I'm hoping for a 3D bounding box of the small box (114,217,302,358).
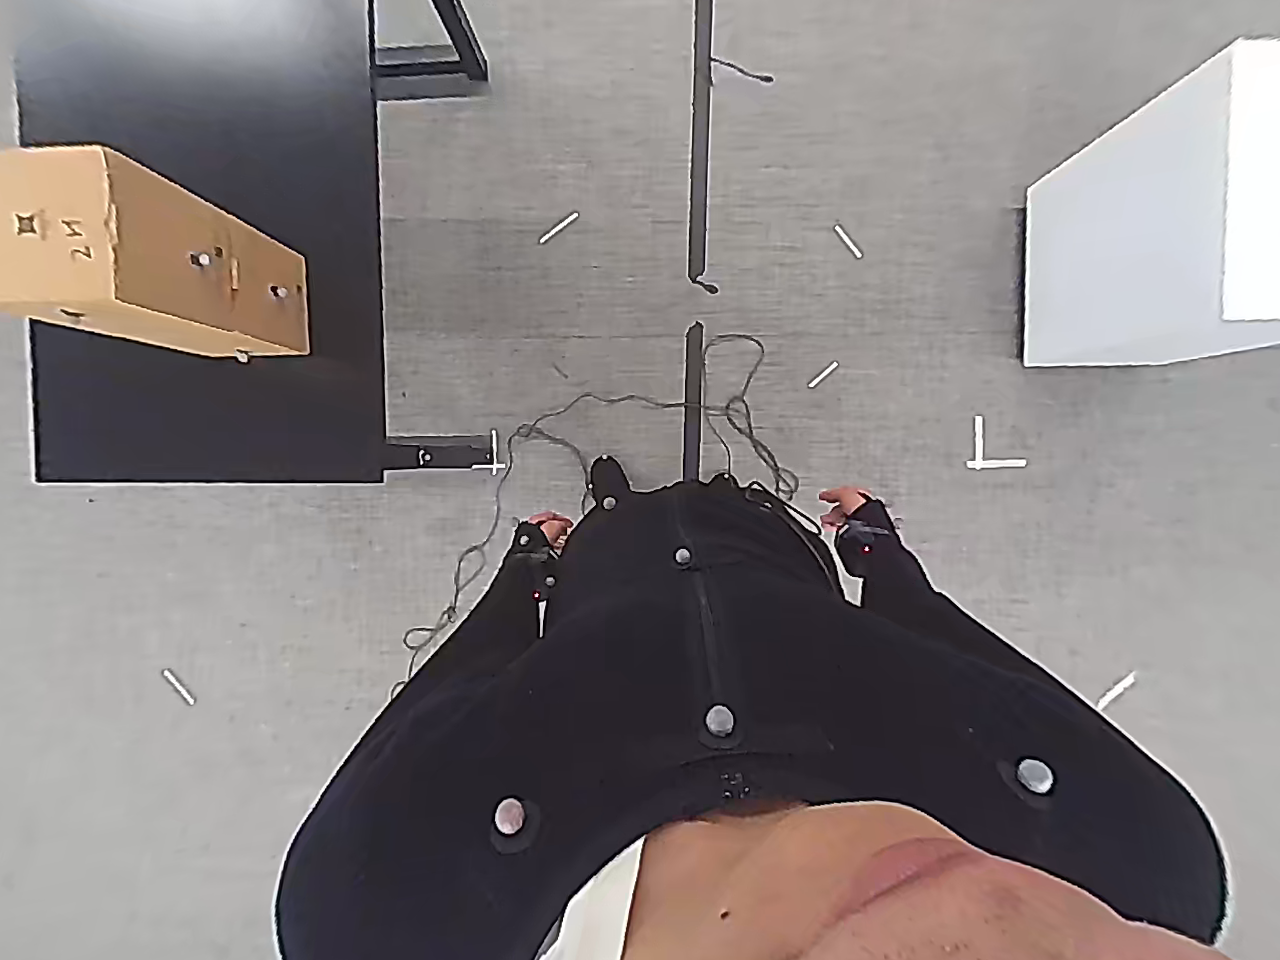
[{"bbox_3d":[-0.647,-0.284,0.827,0.179,0.176,0.168,-2,92,1],"label":"small box"}]

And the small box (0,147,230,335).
[{"bbox_3d":[-0.652,-0.277,0.662,0.179,0.176,0.168,-1,93,1],"label":"small box"}]
